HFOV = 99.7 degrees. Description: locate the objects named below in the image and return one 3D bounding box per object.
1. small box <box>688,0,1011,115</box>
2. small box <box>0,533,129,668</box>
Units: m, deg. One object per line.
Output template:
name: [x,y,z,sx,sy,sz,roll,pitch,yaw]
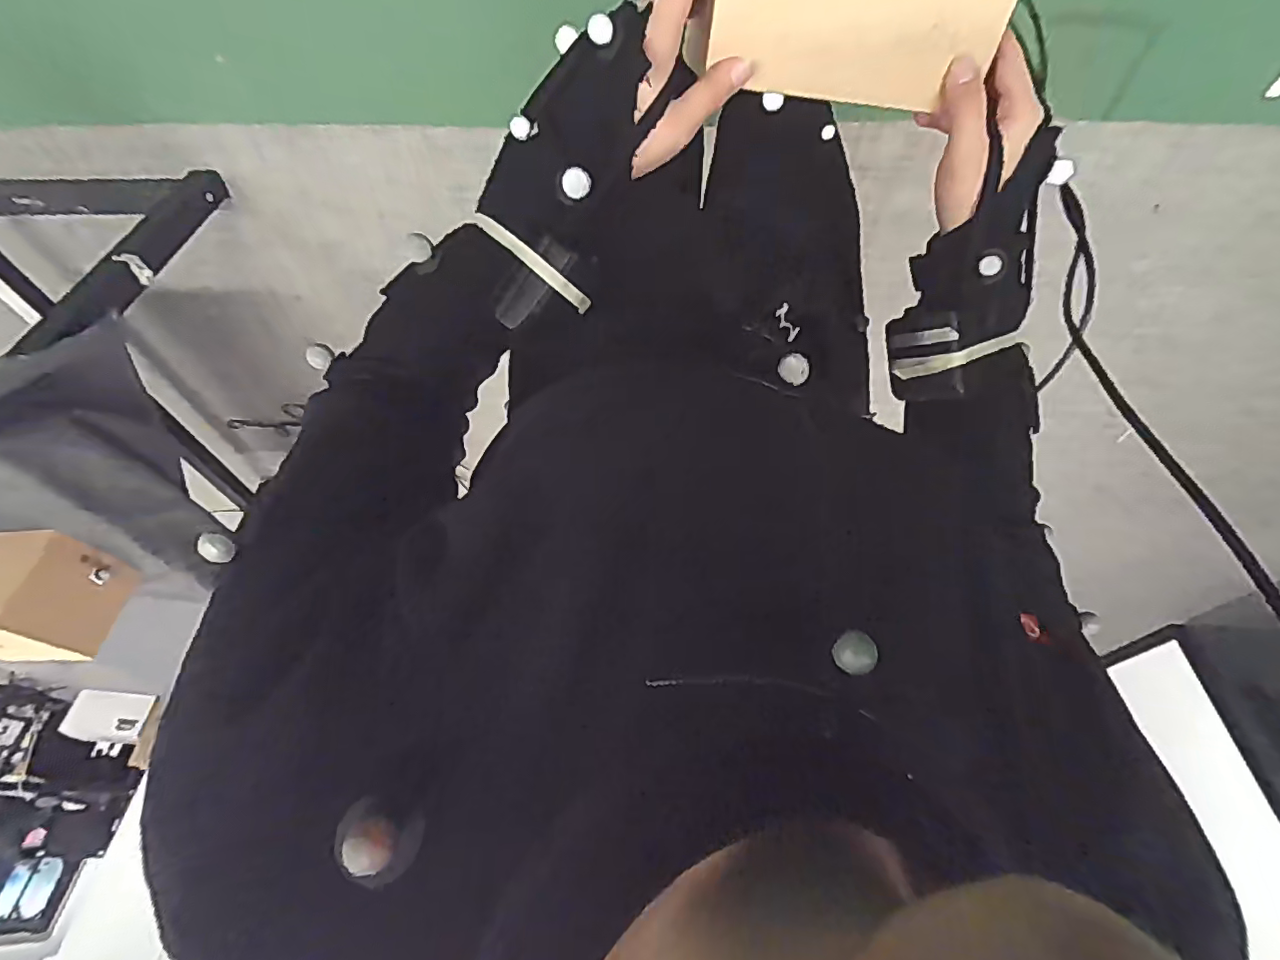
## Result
small box: [0.125,-0.346,0.326,0.168,0.176,0.179,4,131,-5]
small box: [-1.019,0.199,0.888,0.179,0.176,0.168,-4,146,6]
